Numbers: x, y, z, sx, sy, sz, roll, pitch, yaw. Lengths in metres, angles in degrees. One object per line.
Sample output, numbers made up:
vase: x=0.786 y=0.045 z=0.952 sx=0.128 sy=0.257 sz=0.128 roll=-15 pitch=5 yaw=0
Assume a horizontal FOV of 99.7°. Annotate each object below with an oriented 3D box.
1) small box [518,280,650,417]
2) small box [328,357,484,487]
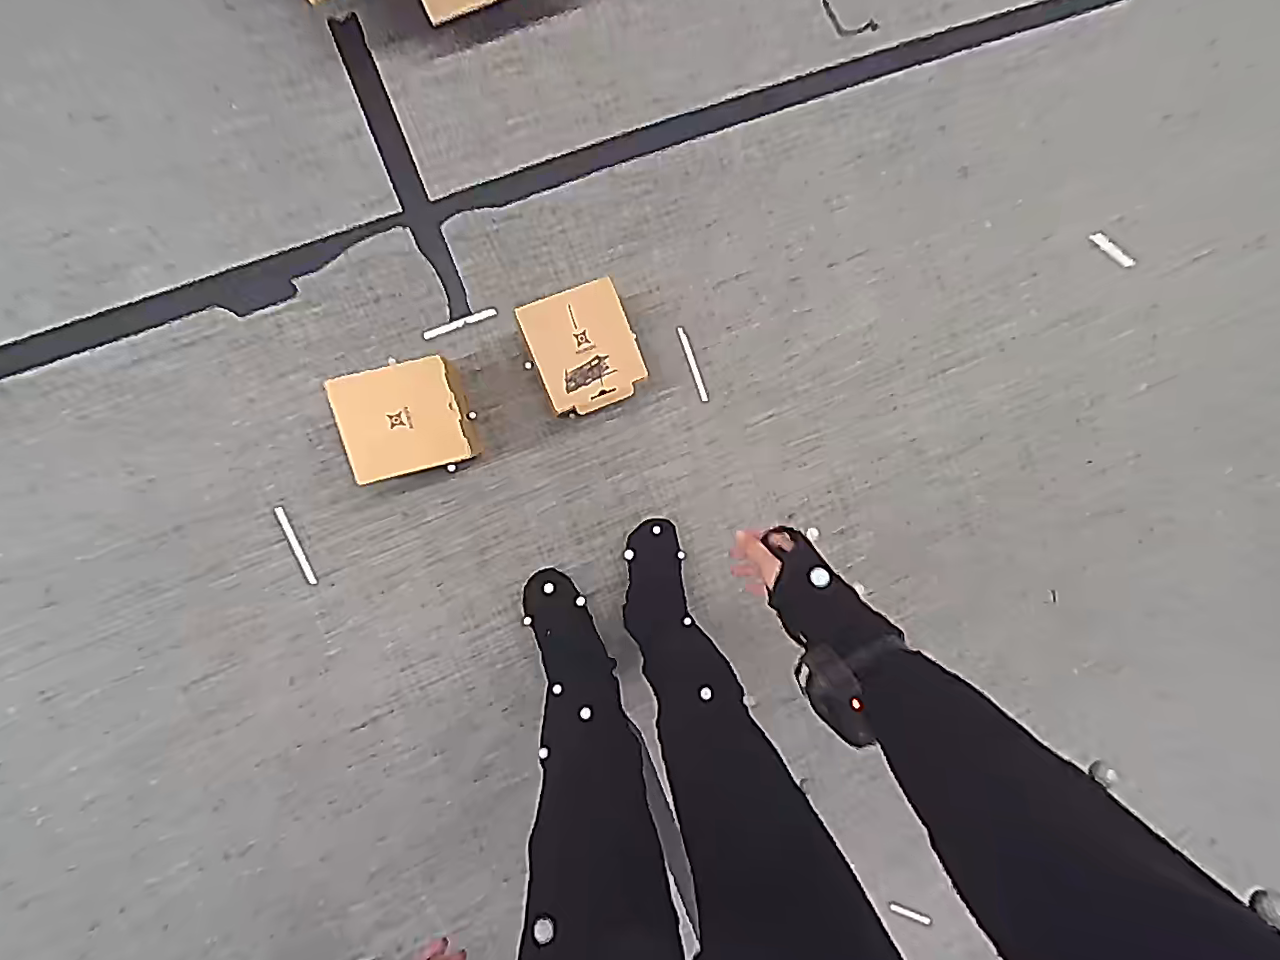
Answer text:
small box: x=-0.099 y=-0.216 z=0.937 sx=0.168 sy=0.176 sz=0.179 roll=-23 pitch=97 yaw=-9
small box: x=-0.373 y=-0.092 z=0.896 sx=0.179 sy=0.176 sz=0.168 roll=-16 pitch=97 yaw=-9
